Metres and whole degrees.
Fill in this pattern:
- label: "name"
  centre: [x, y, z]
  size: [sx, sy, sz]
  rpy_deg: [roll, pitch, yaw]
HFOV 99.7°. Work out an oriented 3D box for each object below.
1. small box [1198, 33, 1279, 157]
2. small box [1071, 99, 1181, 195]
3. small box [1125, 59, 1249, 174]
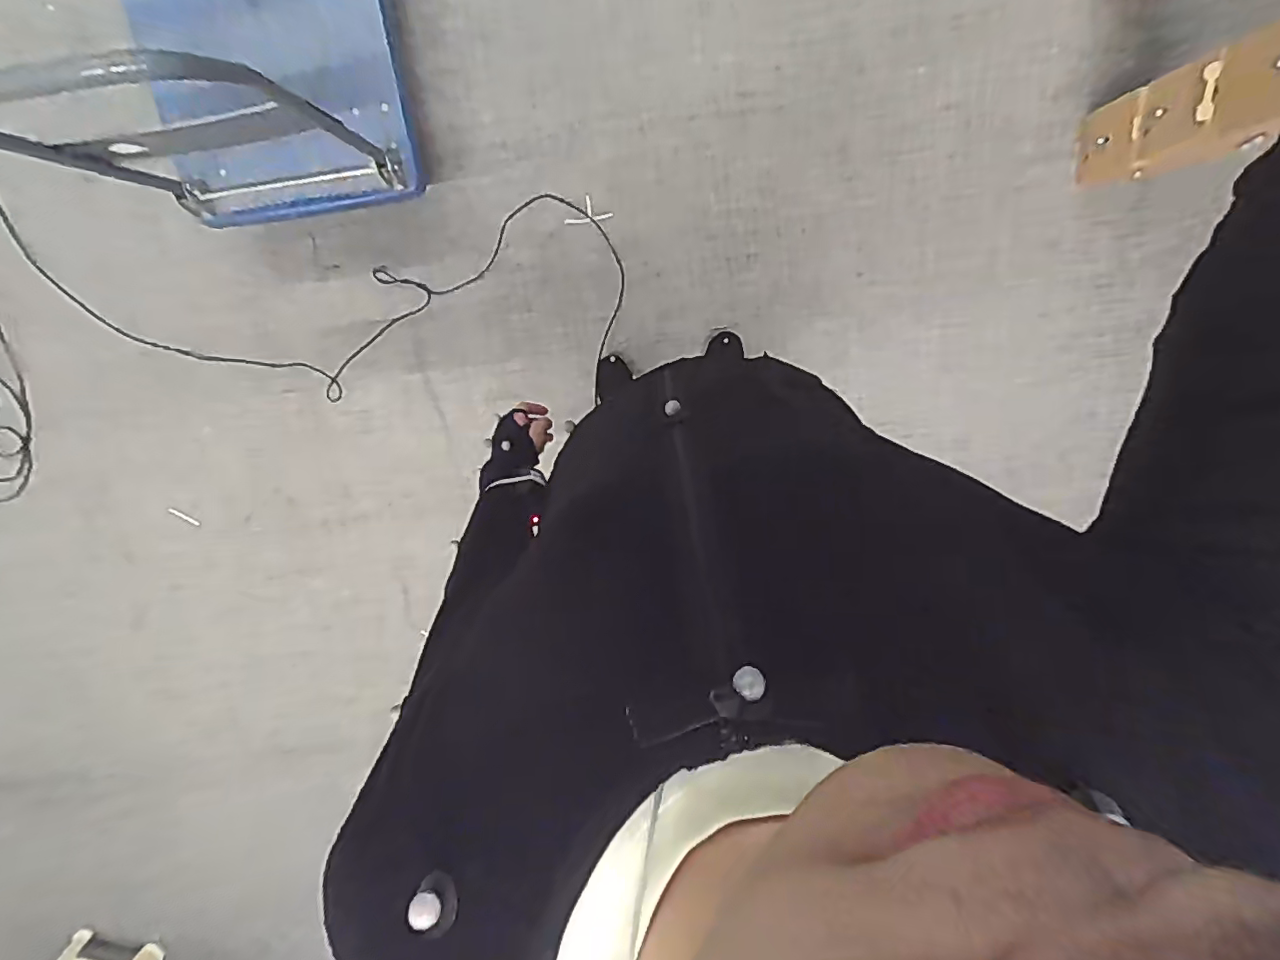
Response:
- label: "small box"
  centre: [1.233, -0.741, 1.028]
  size: [0.168, 0.176, 0.179]
  rpy_deg: [-1, 104, 1]
- label: "small box"
  centre: [1.225, -0.825, 1.345]
  size: [0.179, 0.176, 0.168]
  rpy_deg: [-4, 104, 2]
- label: "small box"
  centre: [1.234, -0.787, 1.185]
  size: [0.179, 0.176, 0.168]
  rpy_deg: [0, 103, 0]
